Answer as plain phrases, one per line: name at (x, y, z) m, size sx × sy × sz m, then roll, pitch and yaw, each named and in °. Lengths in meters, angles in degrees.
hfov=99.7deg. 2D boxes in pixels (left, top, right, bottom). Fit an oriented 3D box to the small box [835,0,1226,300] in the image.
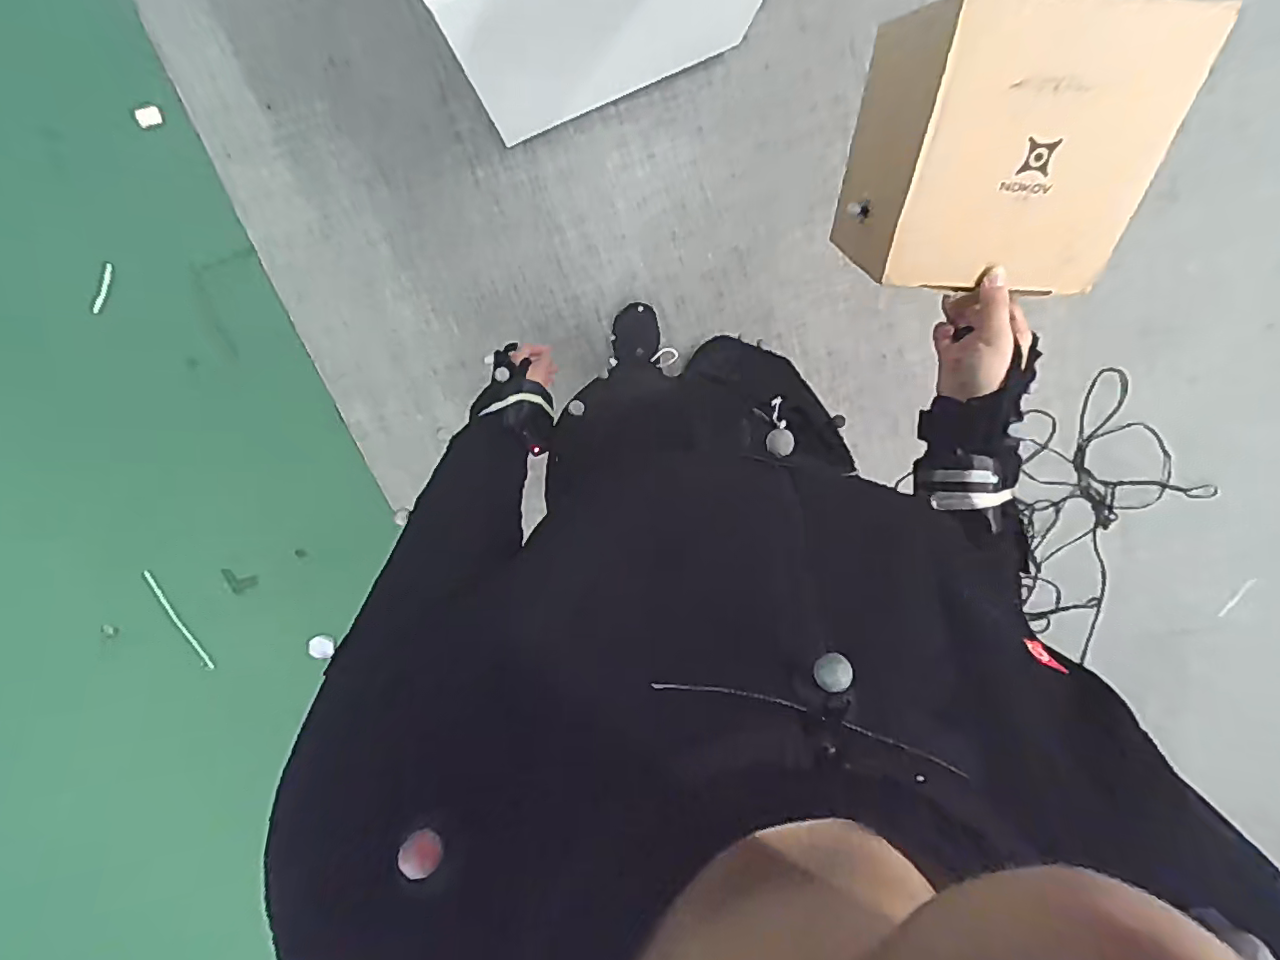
small box at (0.271, -0.261, 0.437) m, size 0.168 × 0.176 × 0.179 m, roll 2°, pitch 124°, yaw 1°
